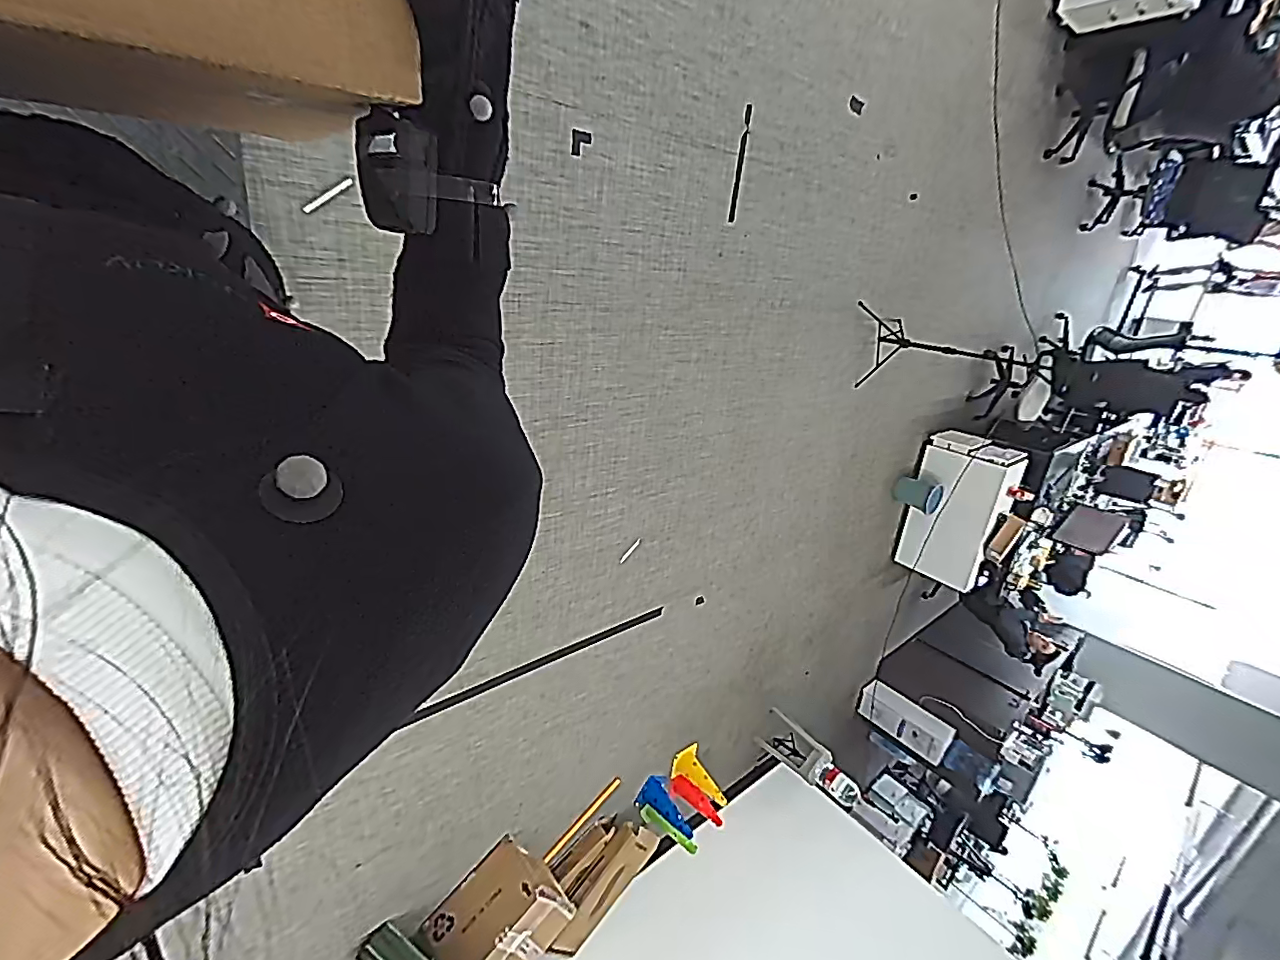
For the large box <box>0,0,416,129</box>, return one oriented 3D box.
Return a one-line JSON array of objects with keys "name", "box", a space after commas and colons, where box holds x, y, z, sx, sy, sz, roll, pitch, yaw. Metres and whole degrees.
[{"name": "large box", "box": [-0.372, -0.381, 0.248, 0.408, 0.320, 0.320, -15, 122, -36]}]
